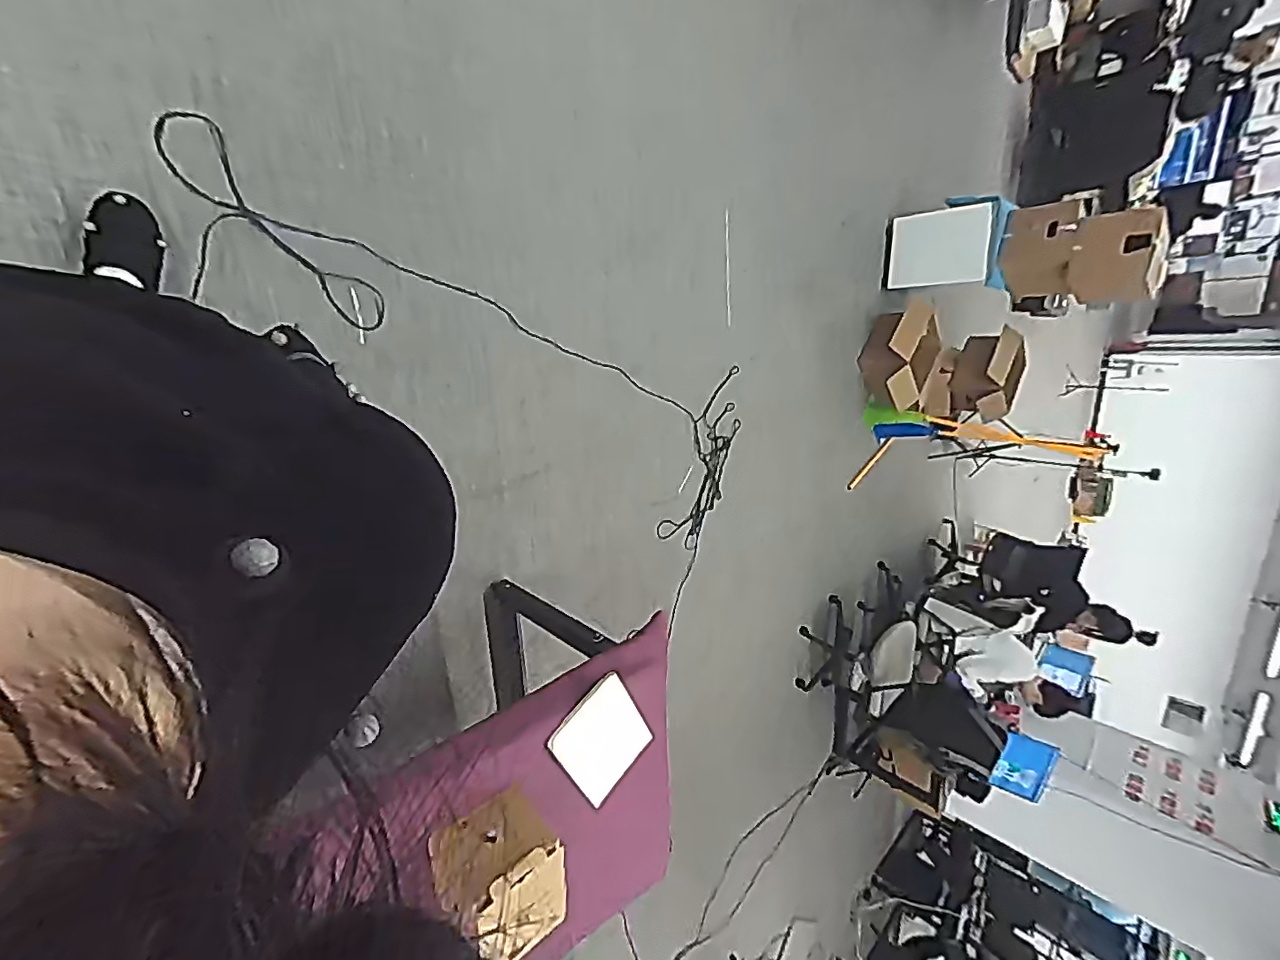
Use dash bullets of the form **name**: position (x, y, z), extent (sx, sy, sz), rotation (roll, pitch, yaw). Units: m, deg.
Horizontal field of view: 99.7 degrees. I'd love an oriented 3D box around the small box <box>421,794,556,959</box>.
- **small box**: position (-0.266, 0.691, 0.945), extent (0.168, 0.176, 0.179), rotation (-14, 109, -41)
